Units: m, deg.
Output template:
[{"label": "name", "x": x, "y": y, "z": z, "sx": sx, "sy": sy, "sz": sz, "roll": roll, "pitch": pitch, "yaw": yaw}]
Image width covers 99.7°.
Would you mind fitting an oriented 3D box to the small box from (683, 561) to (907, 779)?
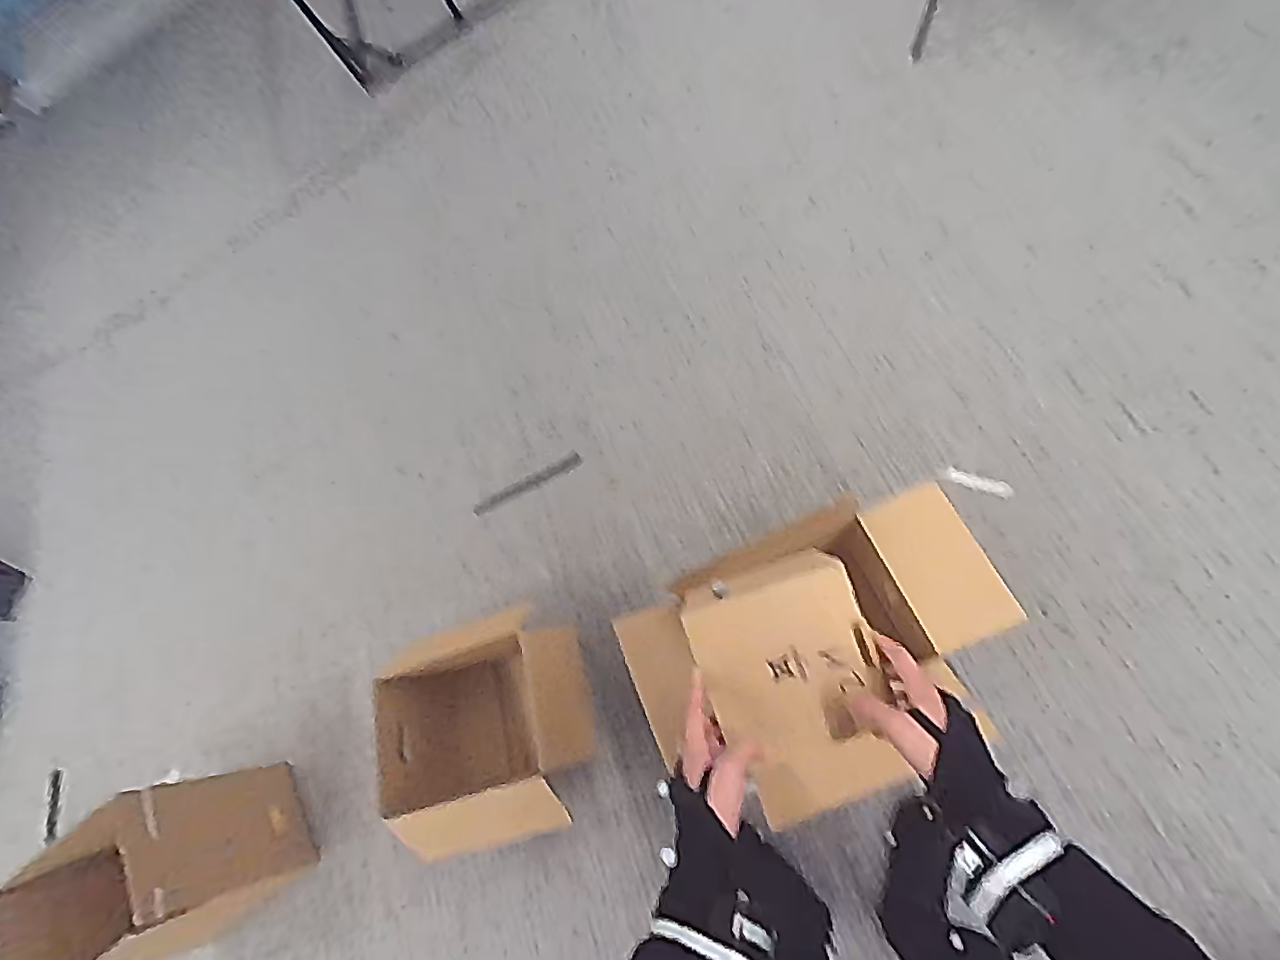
[{"label": "small box", "x": 0.161, "y": 0.198, "z": 0.611, "sx": 0.179, "sy": 0.176, "sz": 0.168, "roll": -20, "pitch": 84, "yaw": 6}]
